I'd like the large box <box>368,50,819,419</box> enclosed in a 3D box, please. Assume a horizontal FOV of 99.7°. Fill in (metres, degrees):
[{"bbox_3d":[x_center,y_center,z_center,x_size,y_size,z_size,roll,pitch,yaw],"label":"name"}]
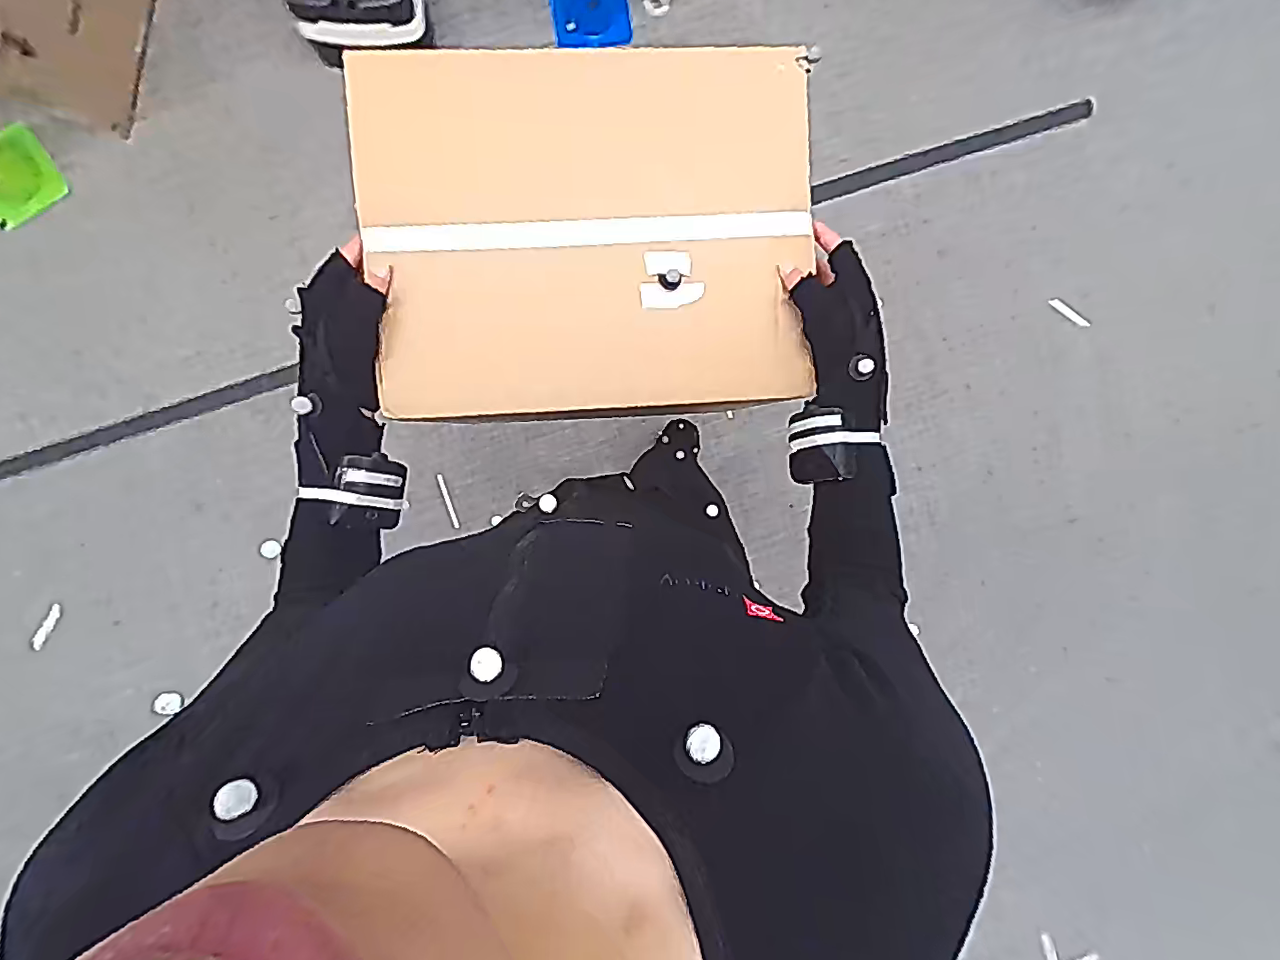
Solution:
[{"bbox_3d":[-0.045,-0.244,0.646,0.408,0.320,0.320,-3,96,-4],"label":"large box"}]
